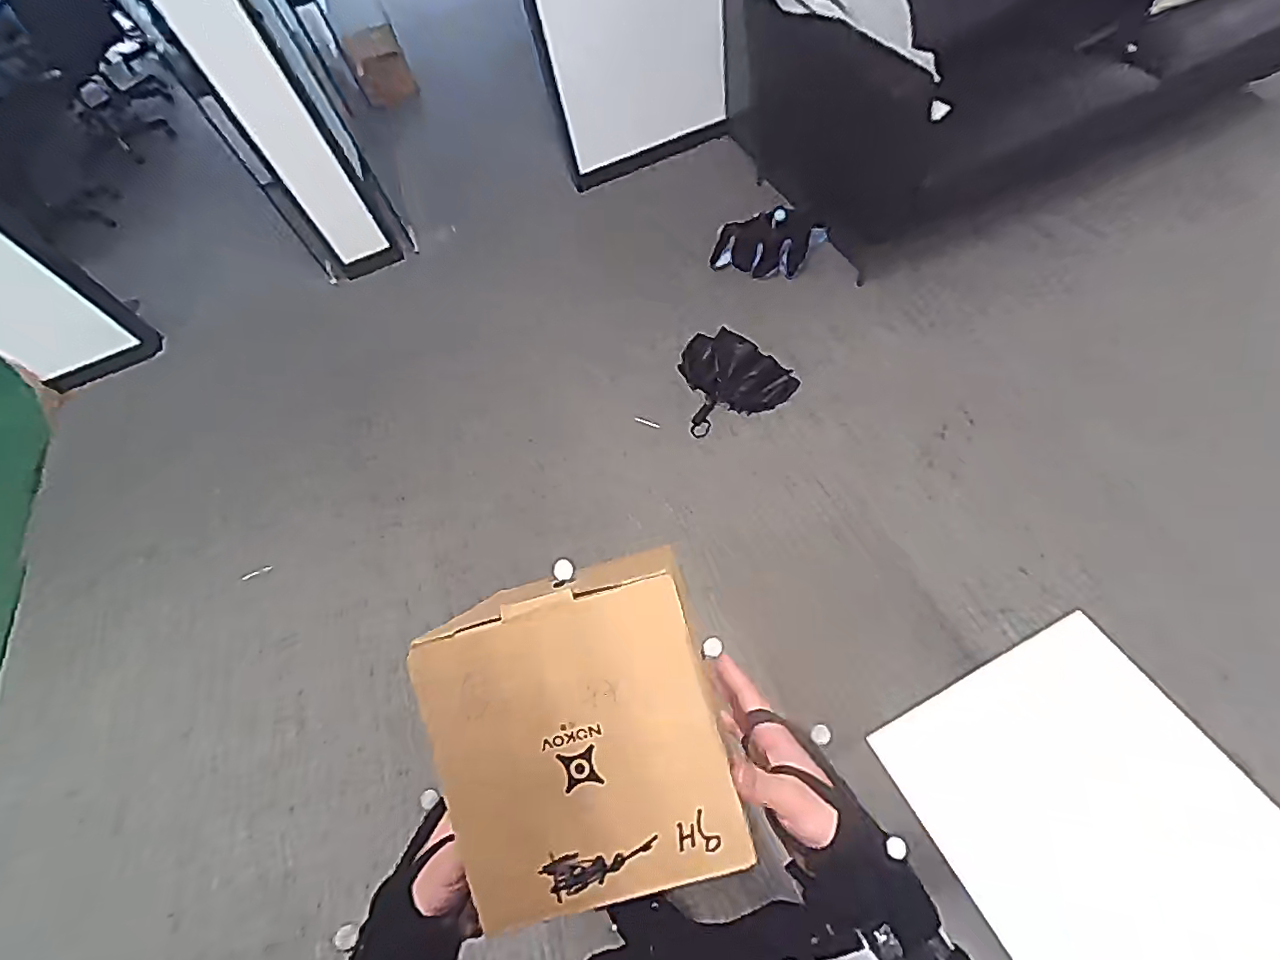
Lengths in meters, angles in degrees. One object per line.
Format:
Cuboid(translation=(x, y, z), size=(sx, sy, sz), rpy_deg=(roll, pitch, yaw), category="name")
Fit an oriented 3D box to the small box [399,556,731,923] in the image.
Cuboid(translation=(-0.042, 0.159, 0.397), size=(0.168, 0.176, 0.179), rpy_deg=(-15, 88, 3), category="small box")
